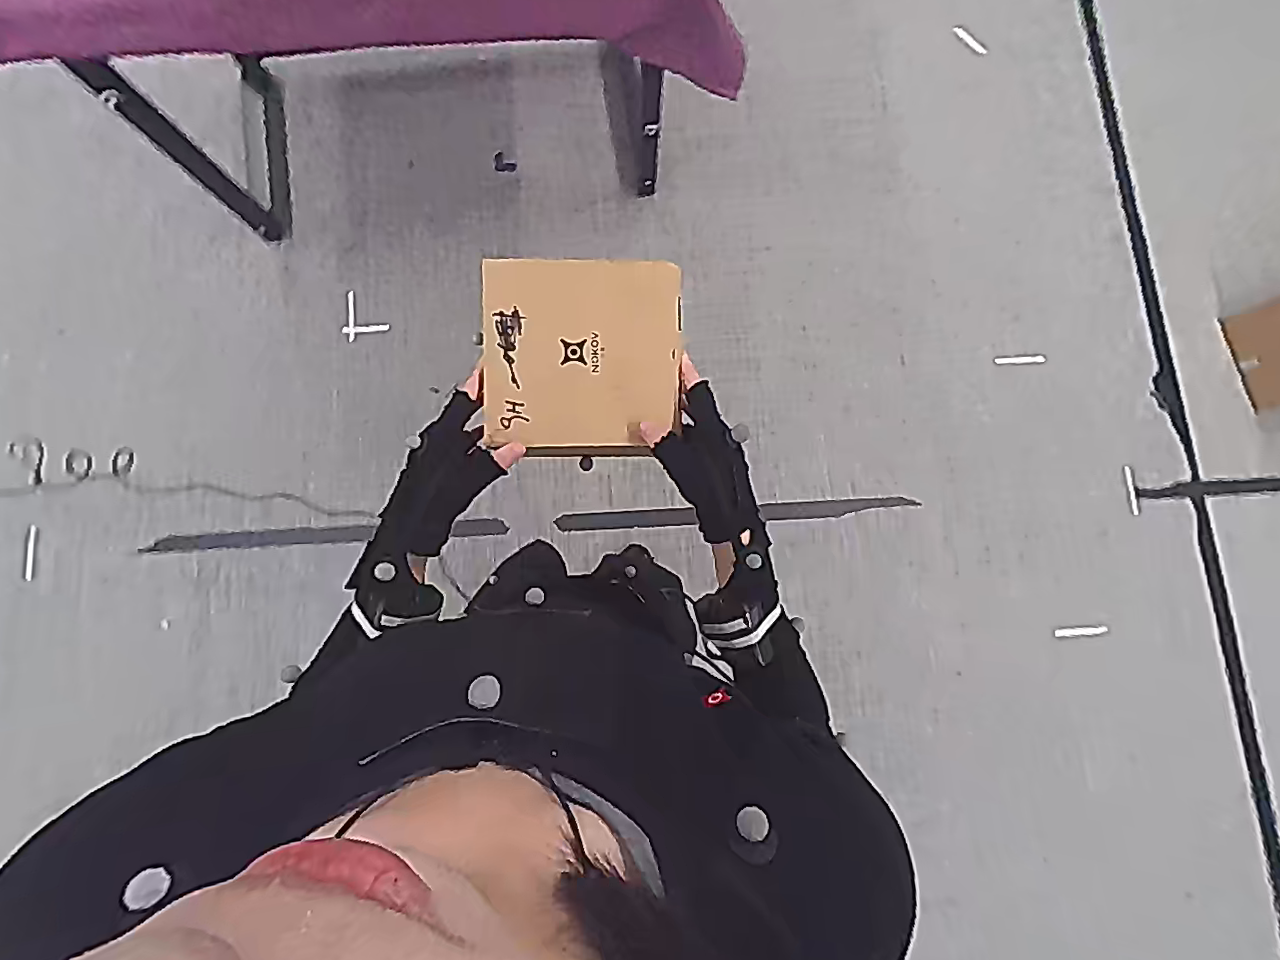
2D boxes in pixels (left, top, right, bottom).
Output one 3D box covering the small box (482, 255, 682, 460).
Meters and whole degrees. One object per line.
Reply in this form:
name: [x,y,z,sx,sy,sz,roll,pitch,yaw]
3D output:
small box: [-0.059,-0.110,0.553,0.179,0.176,0.168,-1,87,-7]
